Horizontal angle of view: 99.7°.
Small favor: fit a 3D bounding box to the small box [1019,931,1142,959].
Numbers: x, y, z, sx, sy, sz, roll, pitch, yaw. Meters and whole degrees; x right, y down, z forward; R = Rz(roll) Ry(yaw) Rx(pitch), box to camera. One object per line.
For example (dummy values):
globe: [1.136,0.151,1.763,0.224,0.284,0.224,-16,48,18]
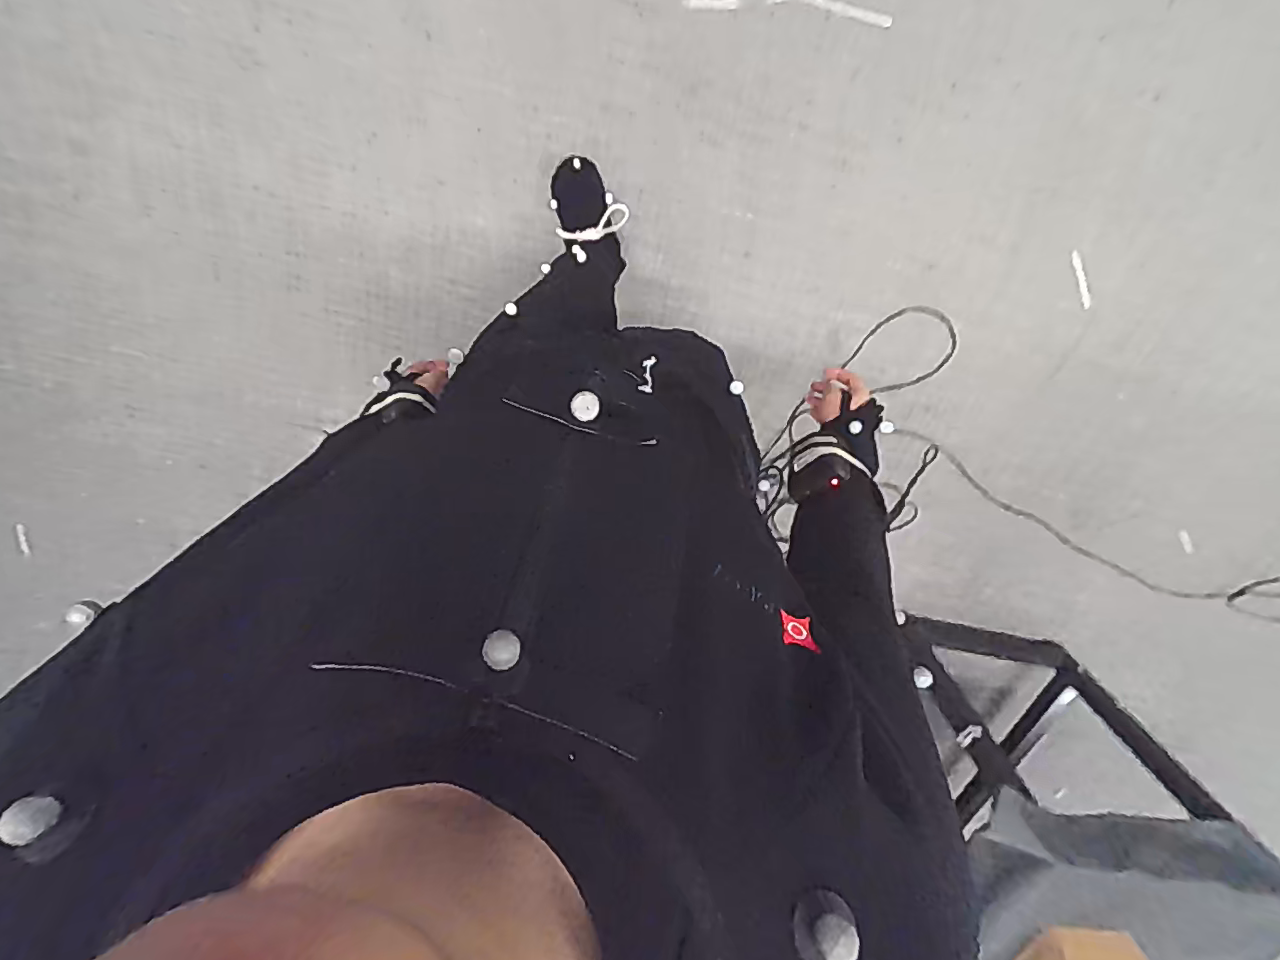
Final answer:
small box: [0.846,0.975,1.002,0.179,0.176,0.168,8,117,-6]
